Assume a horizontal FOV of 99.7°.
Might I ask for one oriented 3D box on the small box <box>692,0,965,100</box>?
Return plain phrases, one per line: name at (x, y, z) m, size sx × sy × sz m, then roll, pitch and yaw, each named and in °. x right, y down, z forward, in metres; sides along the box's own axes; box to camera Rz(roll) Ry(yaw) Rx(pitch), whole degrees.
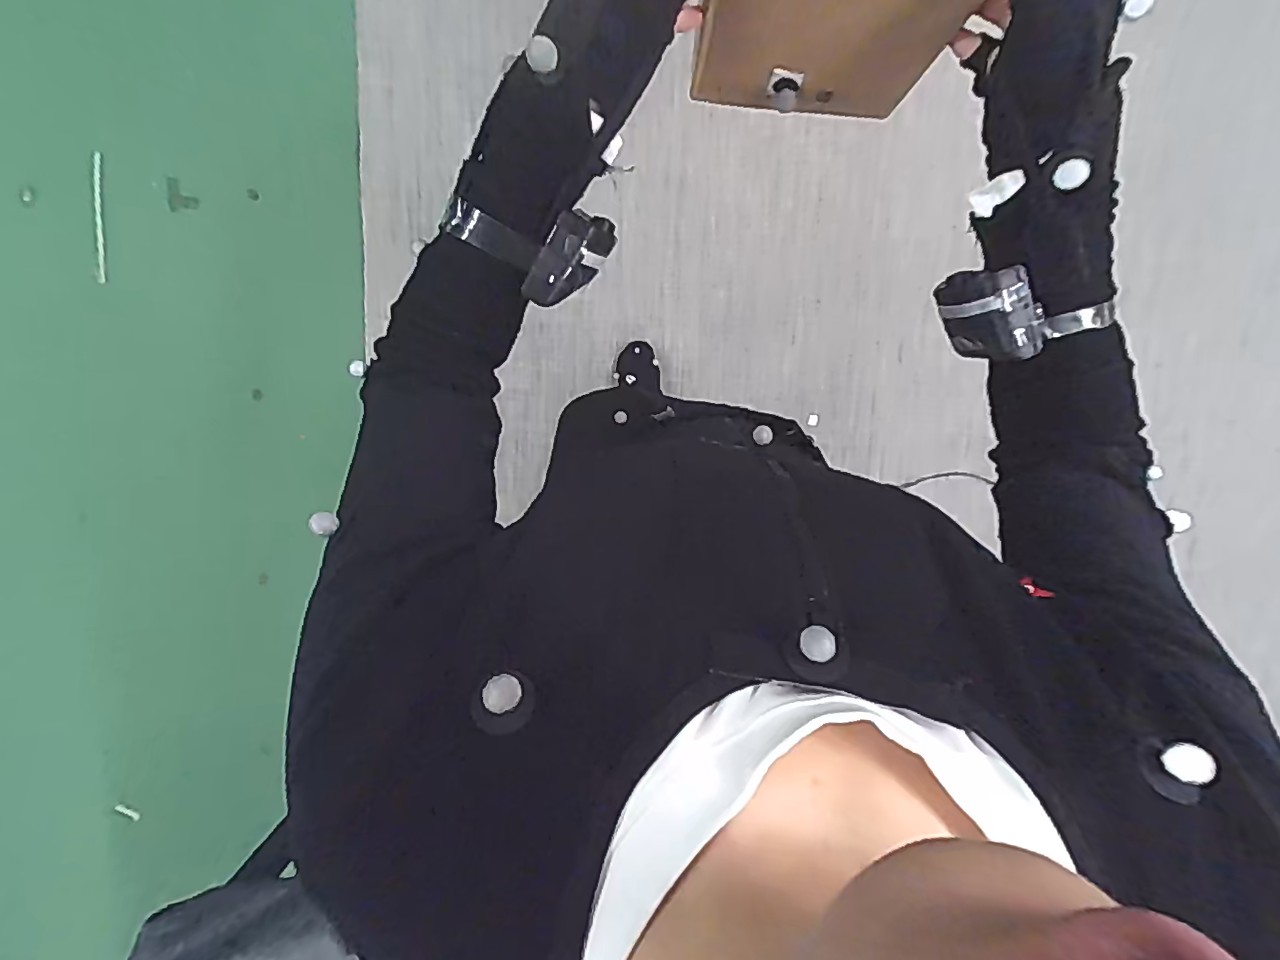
small box at (0.128, -0.391, 0.347) m, size 0.168 × 0.176 × 0.179 m, roll 4°, pitch 97°, yaw -1°
